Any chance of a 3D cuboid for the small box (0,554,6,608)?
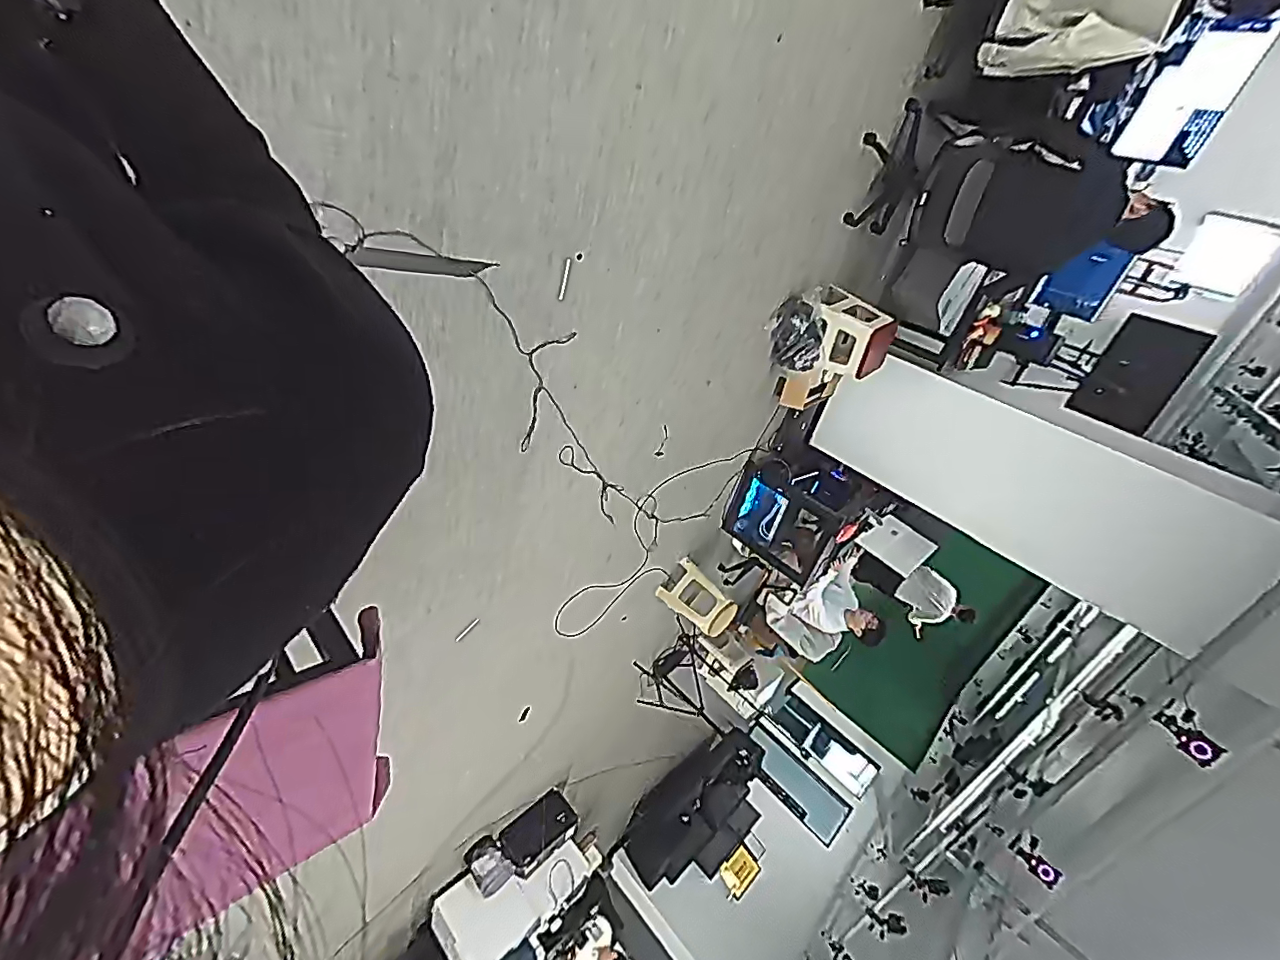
[{"bbox_3d":[-1.373,0.159,1.043,0.168,0.176,0.179,-16,132,-45],"label":"small box"}]
